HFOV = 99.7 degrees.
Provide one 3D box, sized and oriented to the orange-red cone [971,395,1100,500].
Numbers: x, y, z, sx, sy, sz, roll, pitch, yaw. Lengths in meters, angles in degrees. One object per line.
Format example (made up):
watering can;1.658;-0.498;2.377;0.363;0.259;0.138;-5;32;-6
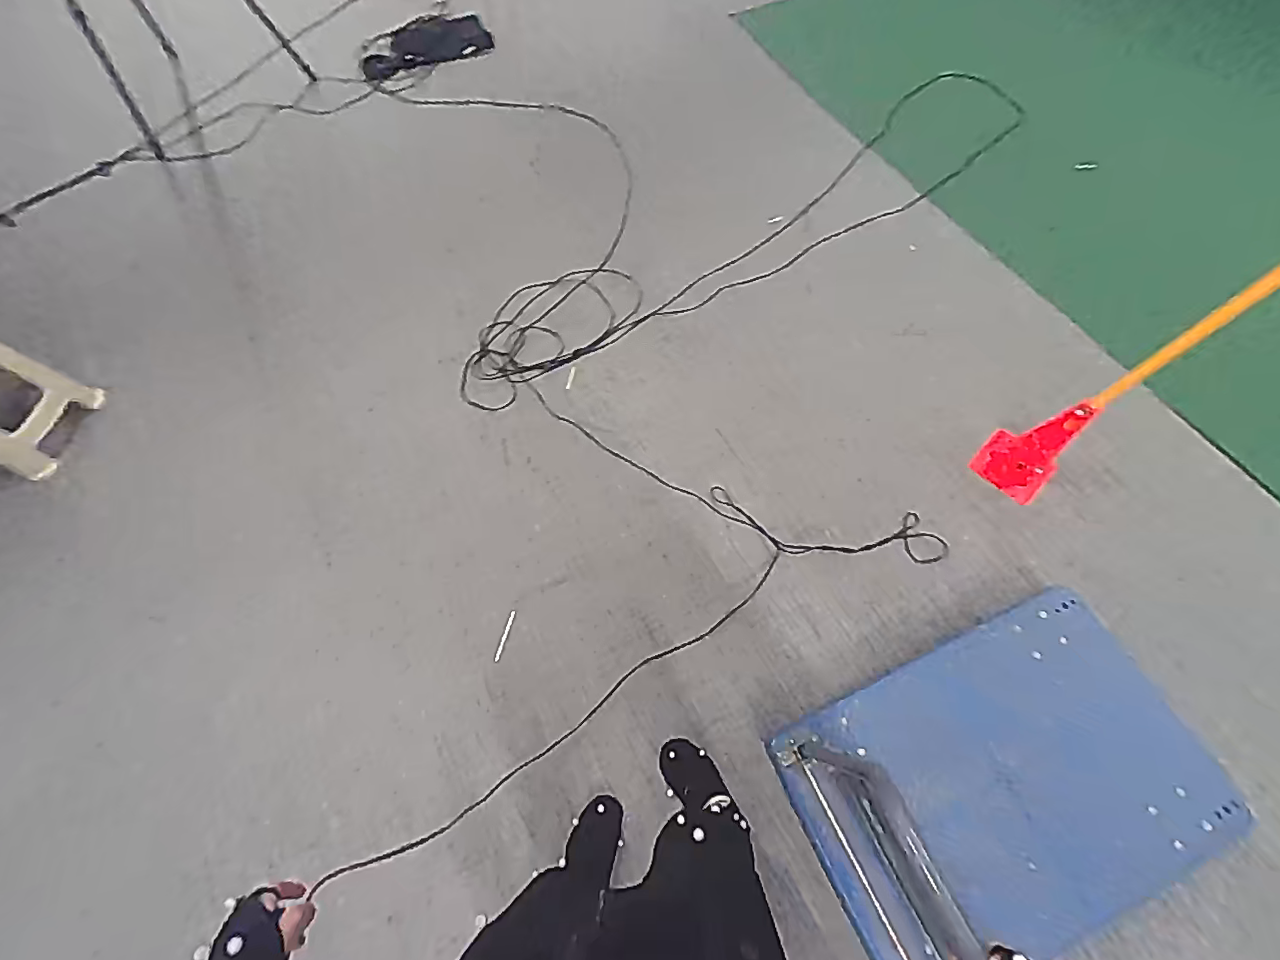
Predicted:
orange-red cone;1.157;-0.126;1.534;0.198;0.360;0.199;-41;69;-16
